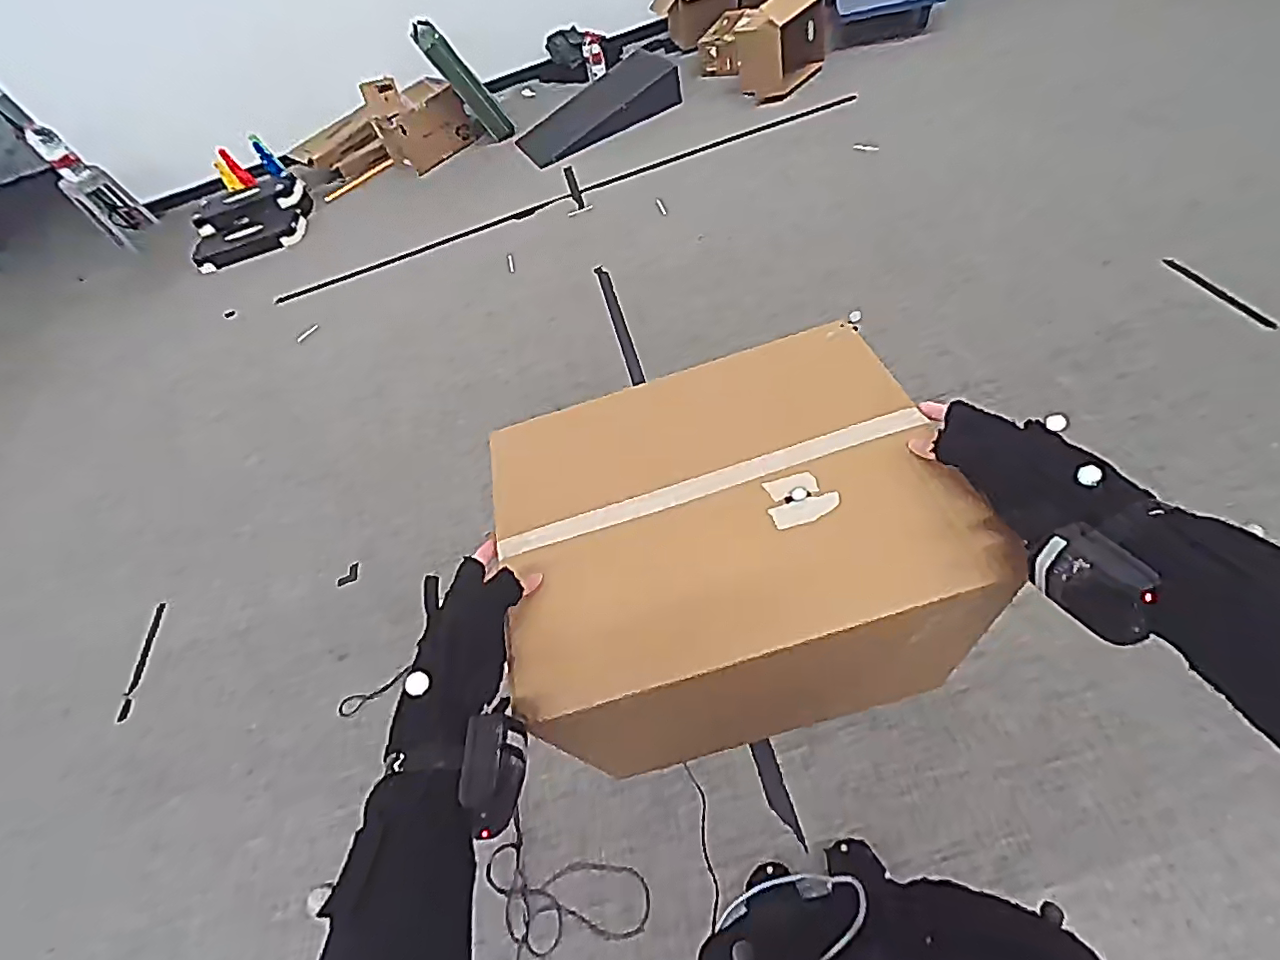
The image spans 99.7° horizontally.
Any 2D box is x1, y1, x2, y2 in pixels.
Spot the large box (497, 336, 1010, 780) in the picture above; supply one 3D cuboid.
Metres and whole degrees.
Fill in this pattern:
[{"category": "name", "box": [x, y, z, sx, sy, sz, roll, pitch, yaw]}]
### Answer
[{"category": "large box", "box": [0.092, 0.102, 0.624, 0.408, 0.320, 0.320, -18, 53, 1]}]
